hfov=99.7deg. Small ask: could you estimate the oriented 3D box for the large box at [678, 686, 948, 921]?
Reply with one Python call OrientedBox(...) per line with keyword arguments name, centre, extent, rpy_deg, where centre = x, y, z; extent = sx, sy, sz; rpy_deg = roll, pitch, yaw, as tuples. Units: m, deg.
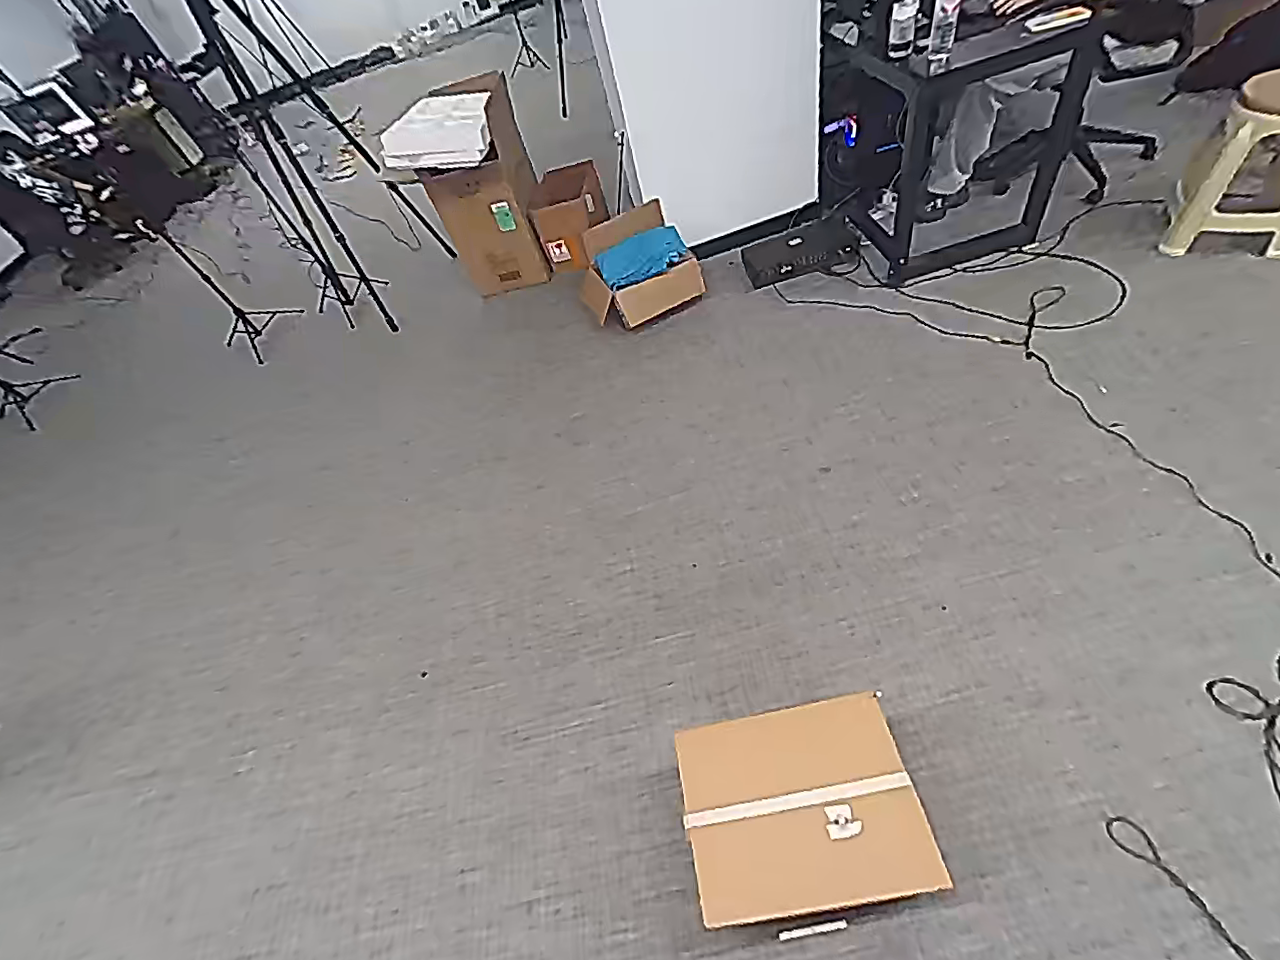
OrientedBox(name="large box", centre=(0.321, 0.661, 1.092), extent=(0.408, 0.320, 0.320), rpy_deg=(-14, 50, 5))
